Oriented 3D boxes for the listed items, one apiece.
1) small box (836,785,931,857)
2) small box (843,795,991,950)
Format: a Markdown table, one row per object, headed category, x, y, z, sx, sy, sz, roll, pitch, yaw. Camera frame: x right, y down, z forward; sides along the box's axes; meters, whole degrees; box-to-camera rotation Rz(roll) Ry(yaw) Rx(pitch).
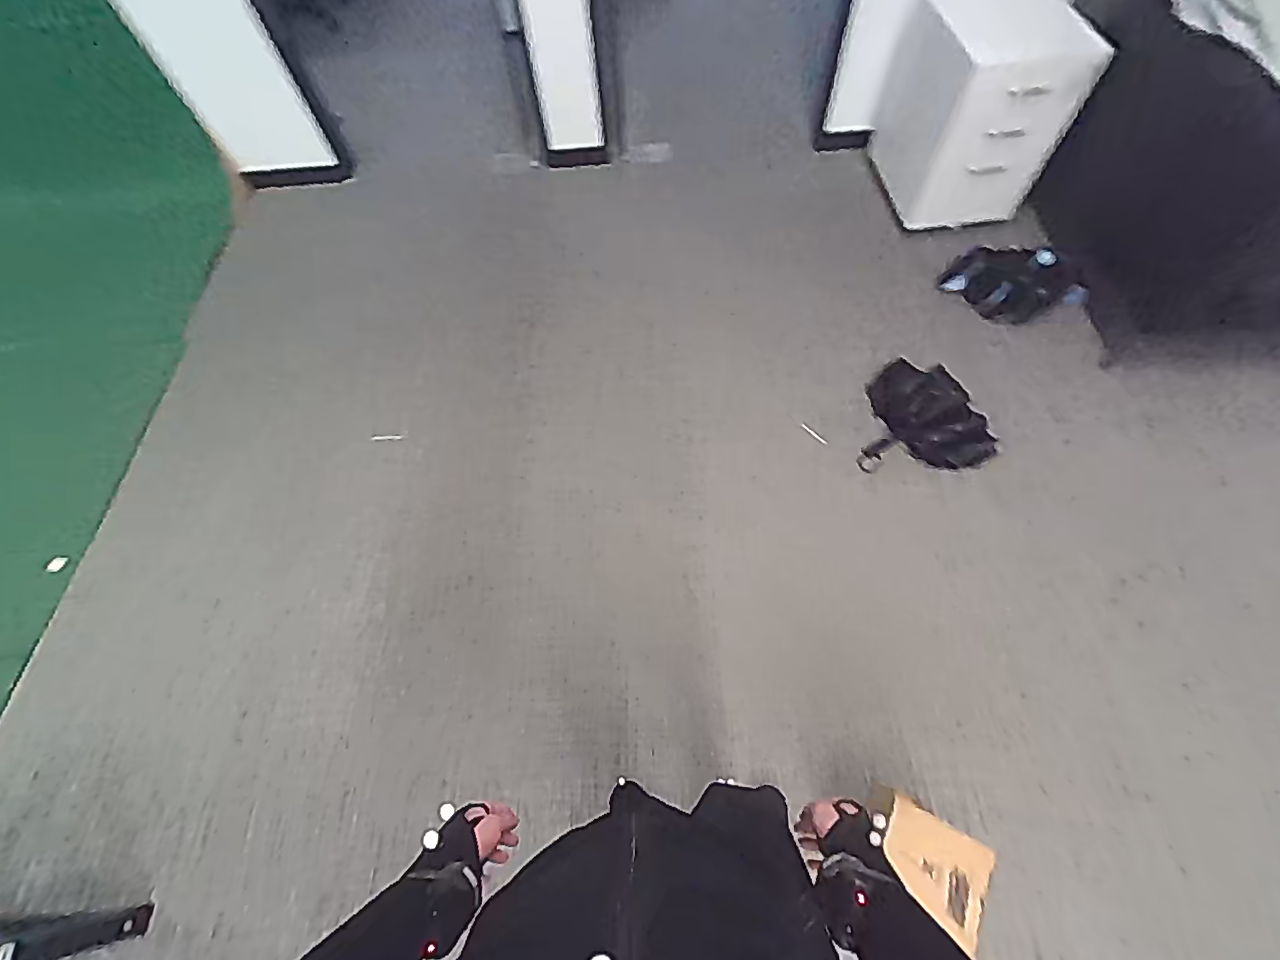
| category | x | y | z | sx | sy | sz | roll | pitch | yaw |
| --- | --- | --- | --- | --- | --- | --- | --- | --- | --- |
| small box | 0.549 | 0.786 | 1.161 | 0.168 | 0.176 | 0.179 | 38 | 72 | 22 |
| small box | 0.510 | 0.716 | 1.015 | 0.179 | 0.176 | 0.168 | 25 | 66 | 18 |
